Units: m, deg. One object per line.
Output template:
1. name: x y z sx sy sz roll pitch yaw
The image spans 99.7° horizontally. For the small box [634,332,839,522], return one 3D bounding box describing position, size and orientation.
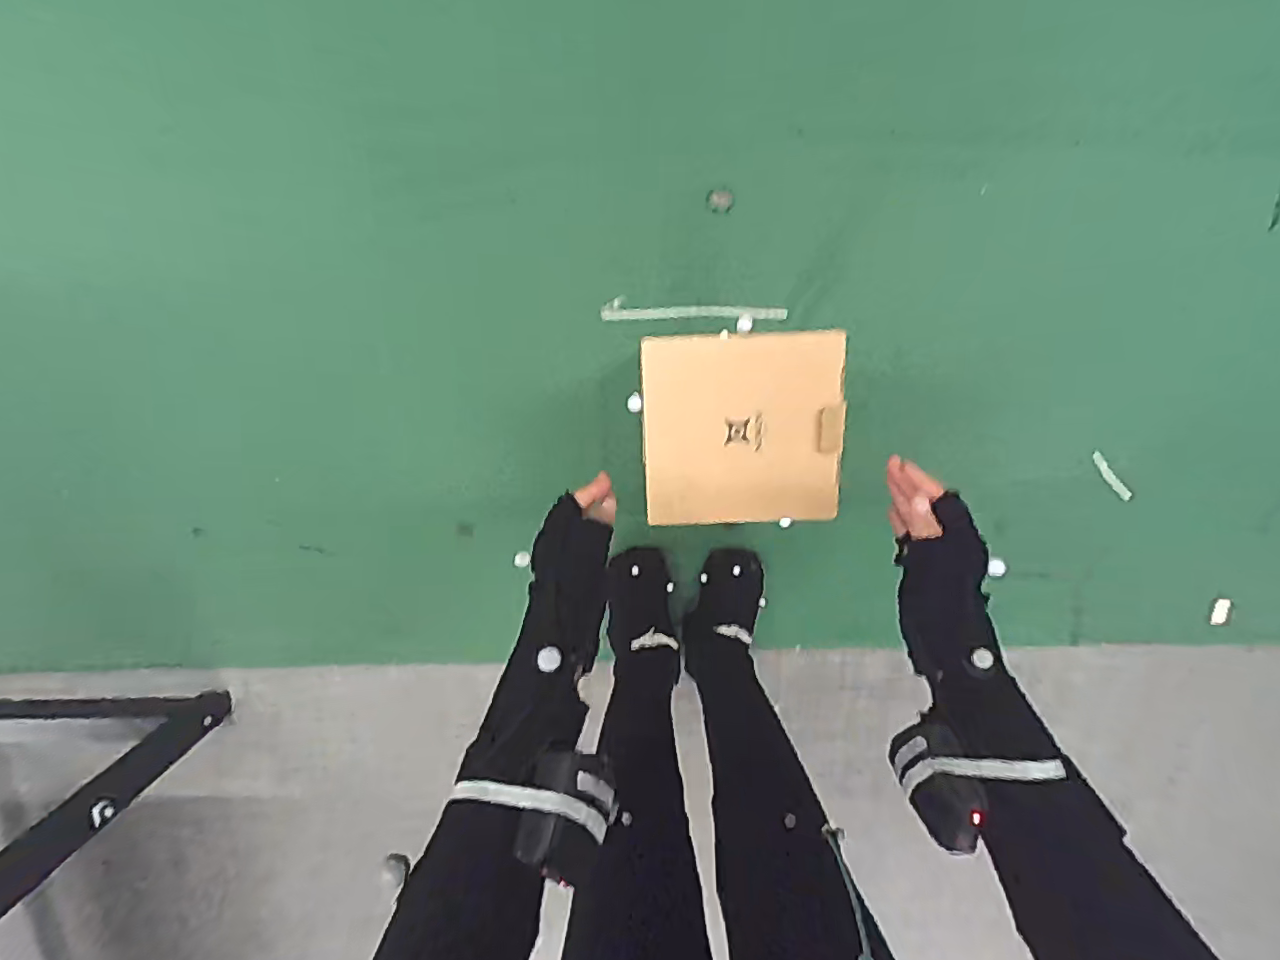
1. small box: 0.086 -0.059 0.554 0.179 0.176 0.168 -3 102 0
